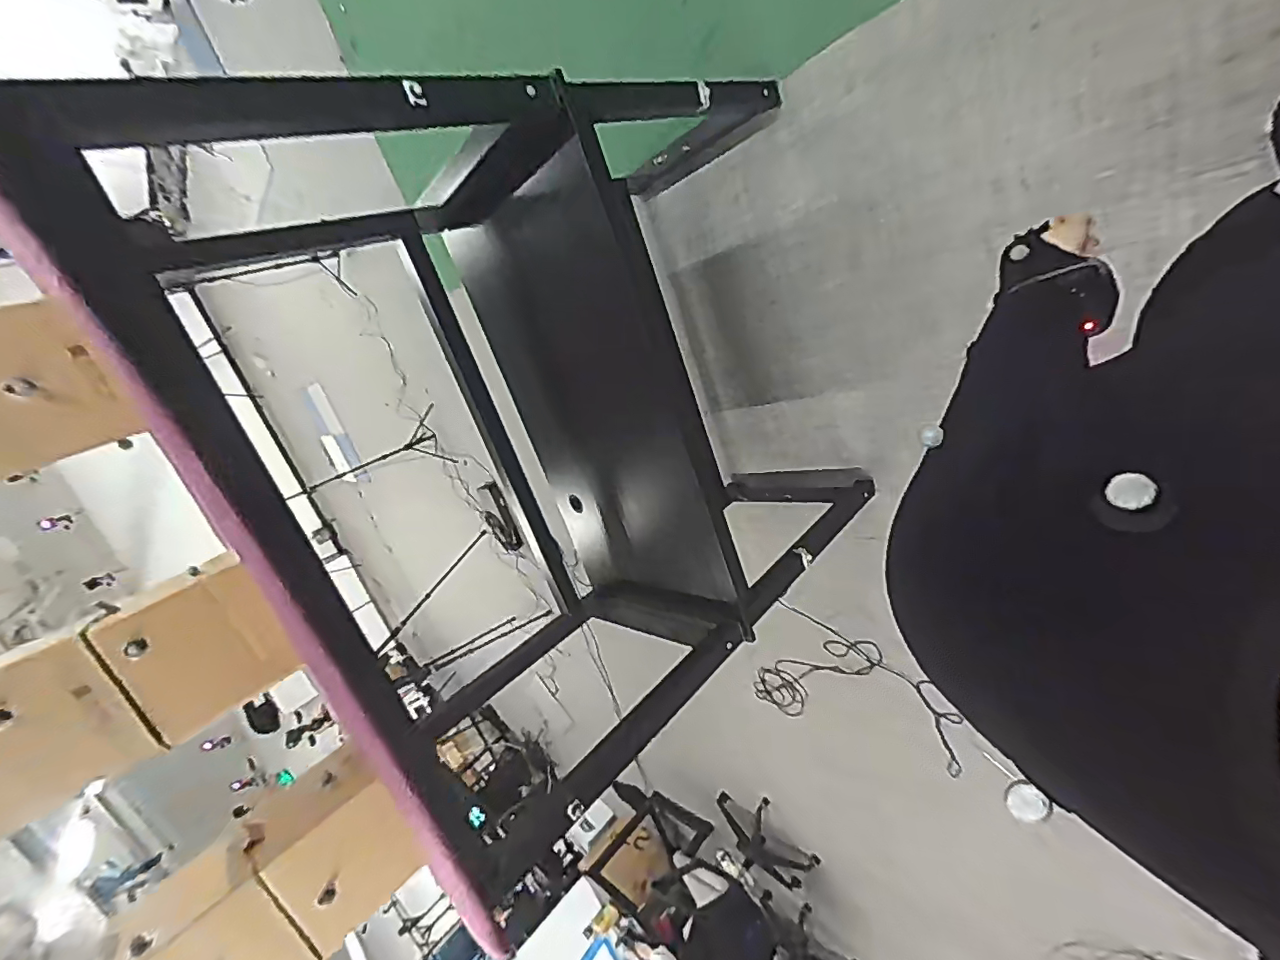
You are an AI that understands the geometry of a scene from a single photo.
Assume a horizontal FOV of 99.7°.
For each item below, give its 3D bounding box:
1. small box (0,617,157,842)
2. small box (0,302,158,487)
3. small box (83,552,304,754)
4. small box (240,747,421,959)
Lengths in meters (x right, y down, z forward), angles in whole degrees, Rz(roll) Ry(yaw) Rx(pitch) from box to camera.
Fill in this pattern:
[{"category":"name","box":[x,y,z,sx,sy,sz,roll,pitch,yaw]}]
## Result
[{"category":"small box","box":[-0.710,0.285,0.646,0.179,0.176,0.168,-4,110,53]},{"category":"small box","box":[-0.721,-0.103,0.647,0.179,0.176,0.168,9,123,48]},{"category":"small box","box":[-0.595,0.222,0.742,0.168,0.176,0.179,-1,114,51]},{"category":"small box","box":[-0.462,0.552,0.819,0.168,0.176,0.179,-3,112,49]}]
